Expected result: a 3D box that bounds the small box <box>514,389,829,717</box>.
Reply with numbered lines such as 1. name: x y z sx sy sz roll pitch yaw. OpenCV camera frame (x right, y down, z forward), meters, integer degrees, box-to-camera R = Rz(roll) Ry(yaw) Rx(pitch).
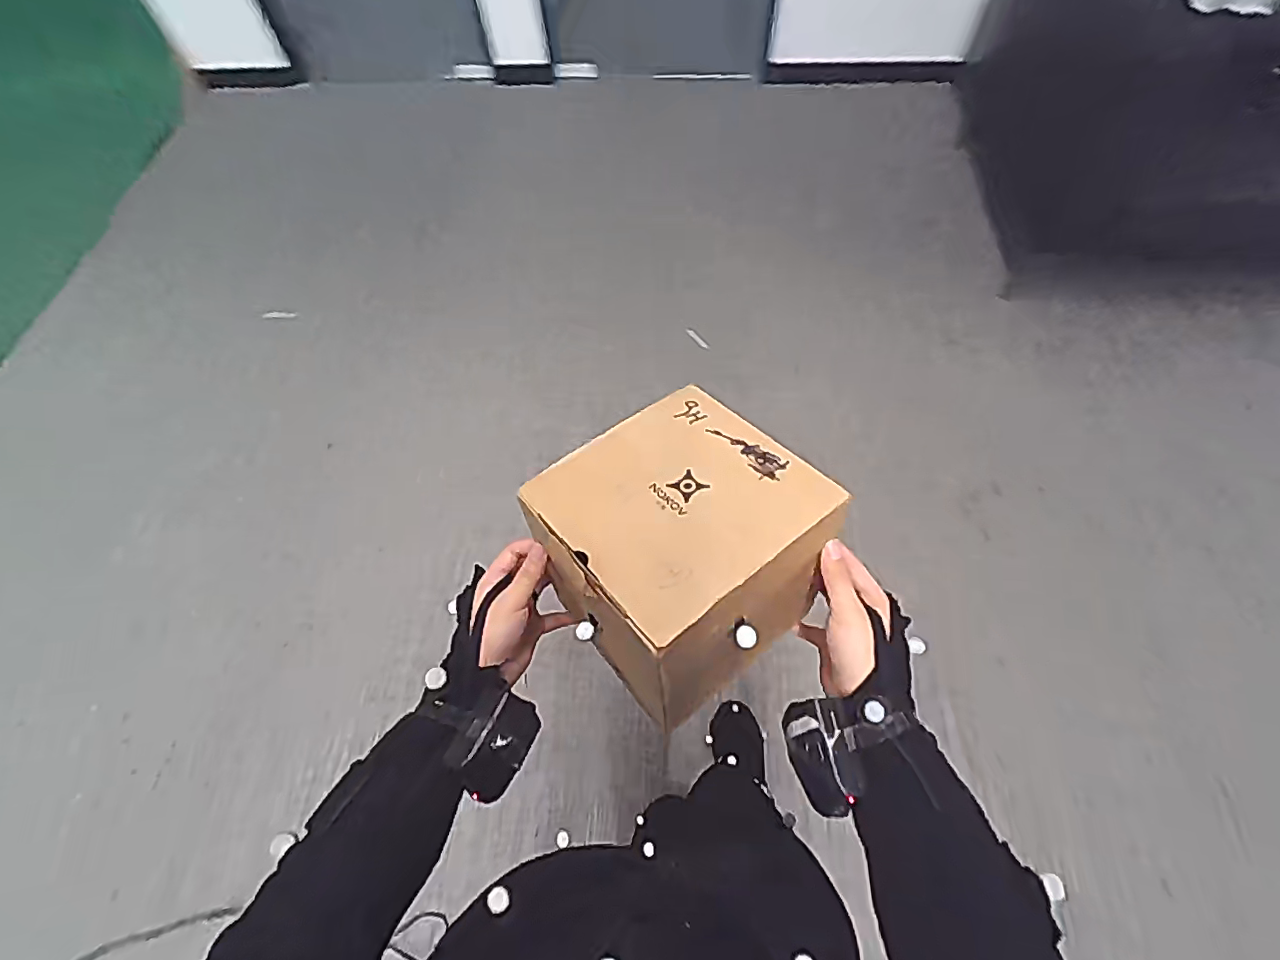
1. small box: 0.028 0.062 0.454 0.179 0.176 0.168 -35 55 -21
